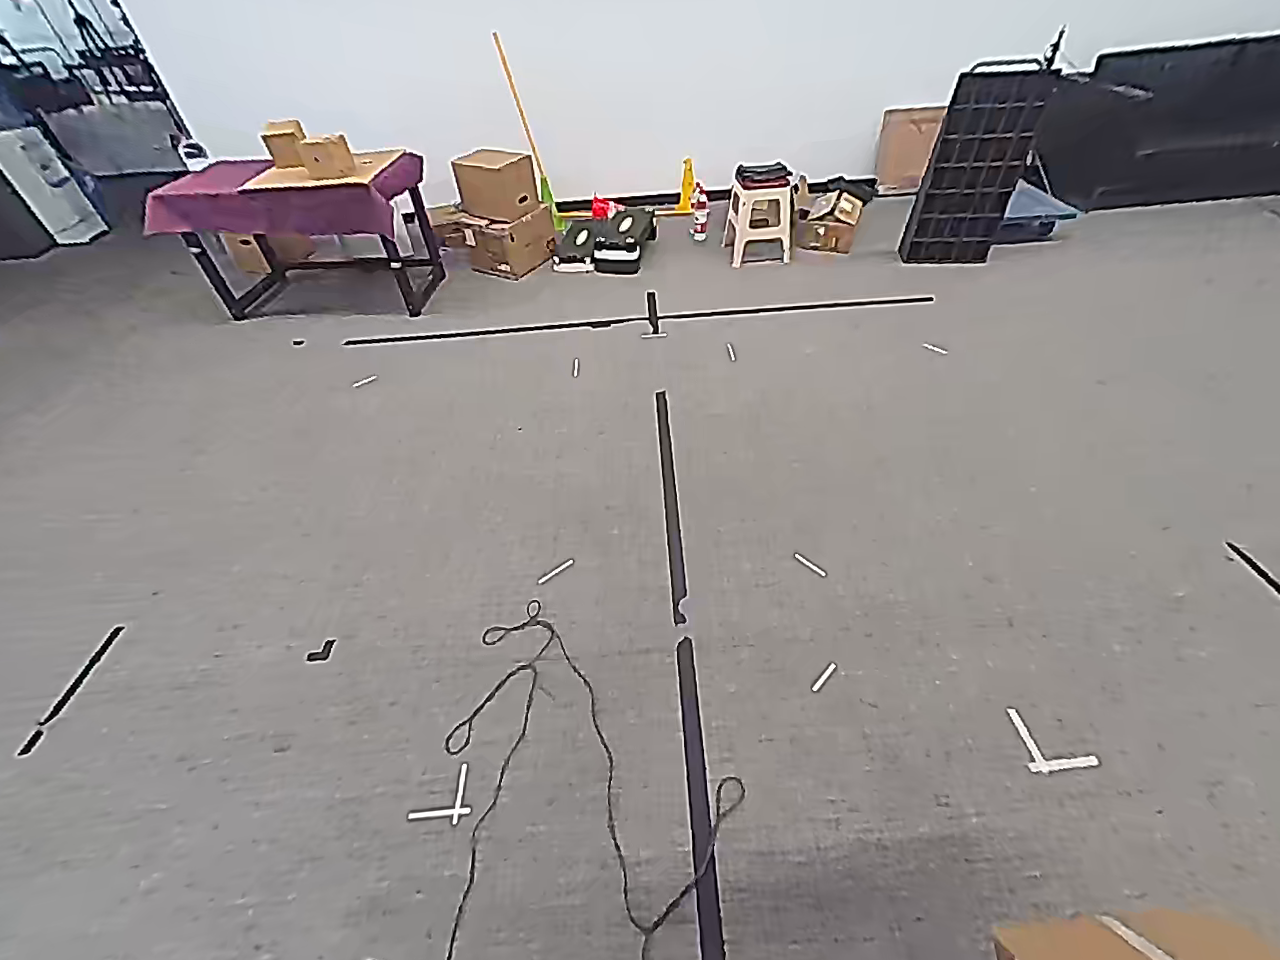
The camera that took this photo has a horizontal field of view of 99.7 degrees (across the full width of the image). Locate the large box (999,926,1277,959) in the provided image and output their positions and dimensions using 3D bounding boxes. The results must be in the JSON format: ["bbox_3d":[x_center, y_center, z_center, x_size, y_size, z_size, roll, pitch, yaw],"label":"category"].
[{"bbox_3d":[0.646,0.726,0.518,0.320,0.408,0.320,-5,78,1],"label":"large box"}]
